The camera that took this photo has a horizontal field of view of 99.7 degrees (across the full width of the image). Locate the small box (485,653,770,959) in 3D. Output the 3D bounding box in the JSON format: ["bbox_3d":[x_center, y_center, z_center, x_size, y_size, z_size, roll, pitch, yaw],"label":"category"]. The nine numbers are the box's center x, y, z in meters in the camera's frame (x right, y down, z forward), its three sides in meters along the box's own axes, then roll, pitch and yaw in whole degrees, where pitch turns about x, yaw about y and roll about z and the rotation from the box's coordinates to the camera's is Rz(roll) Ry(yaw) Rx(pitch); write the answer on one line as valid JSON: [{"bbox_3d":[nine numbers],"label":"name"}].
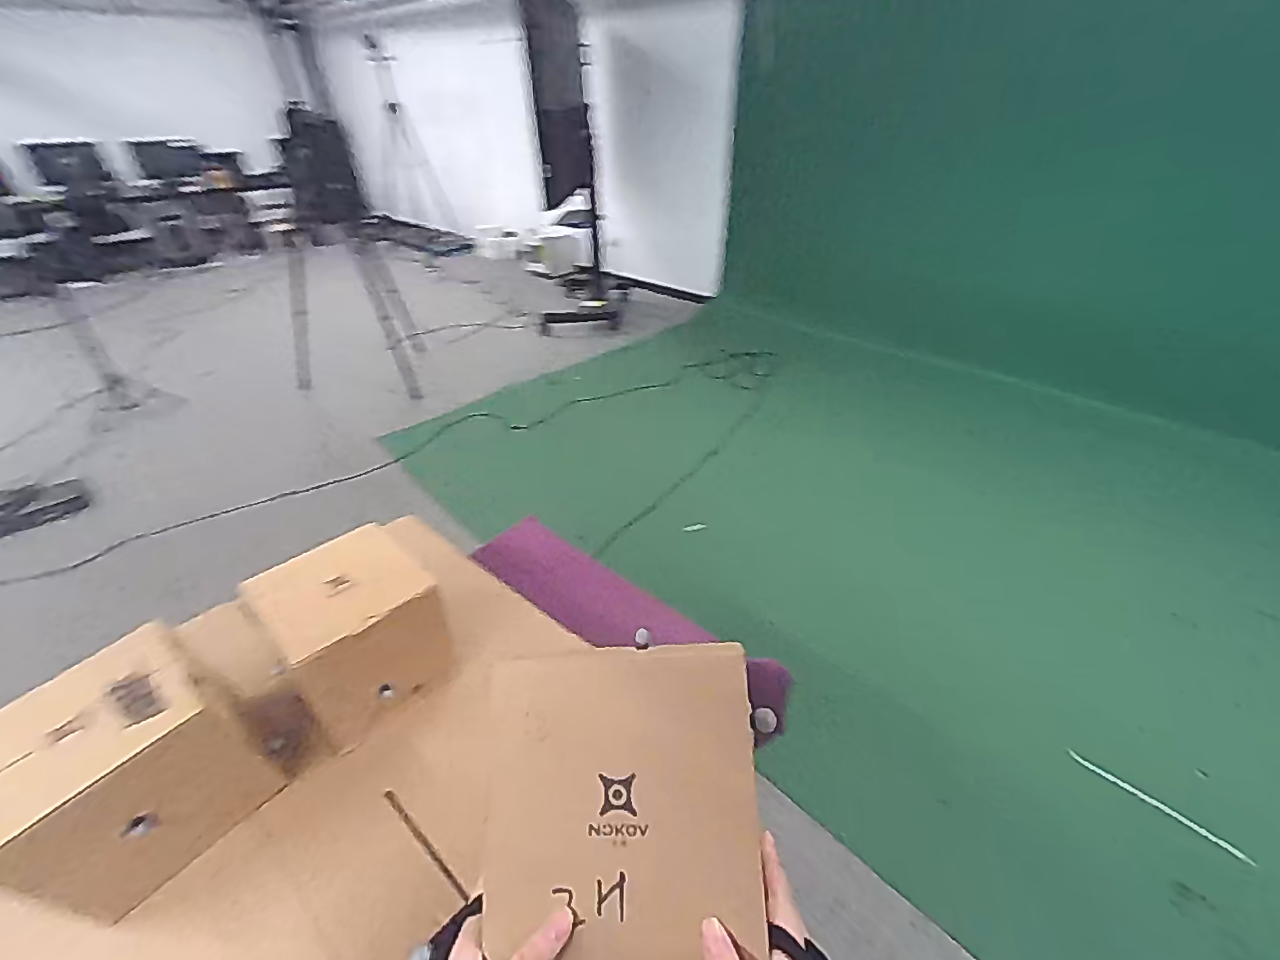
[{"bbox_3d":[0.003,0.221,0.400,0.168,0.176,0.179,-5,74,10],"label":"small box"}]

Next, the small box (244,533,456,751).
[{"bbox_3d":[-0.365,0.204,0.699,0.179,0.176,0.168,27,42,33],"label":"small box"}]
